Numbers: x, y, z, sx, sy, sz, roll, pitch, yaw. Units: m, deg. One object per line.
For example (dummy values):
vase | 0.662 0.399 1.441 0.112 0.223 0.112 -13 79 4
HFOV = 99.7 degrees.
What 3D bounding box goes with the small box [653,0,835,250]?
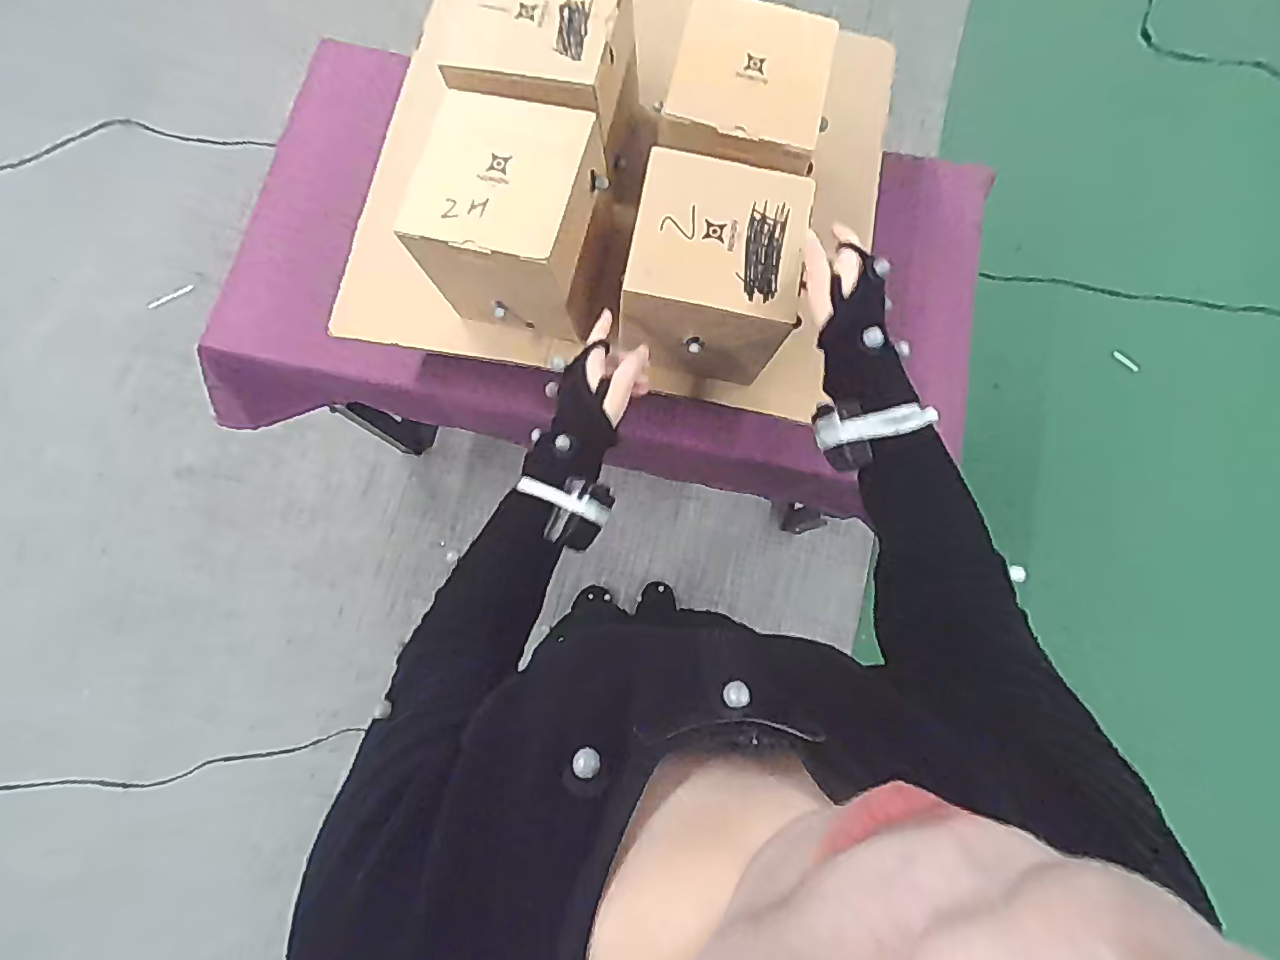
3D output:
small box | 0.116 -0.423 0.666 0.168 0.176 0.179 13 80 -1
